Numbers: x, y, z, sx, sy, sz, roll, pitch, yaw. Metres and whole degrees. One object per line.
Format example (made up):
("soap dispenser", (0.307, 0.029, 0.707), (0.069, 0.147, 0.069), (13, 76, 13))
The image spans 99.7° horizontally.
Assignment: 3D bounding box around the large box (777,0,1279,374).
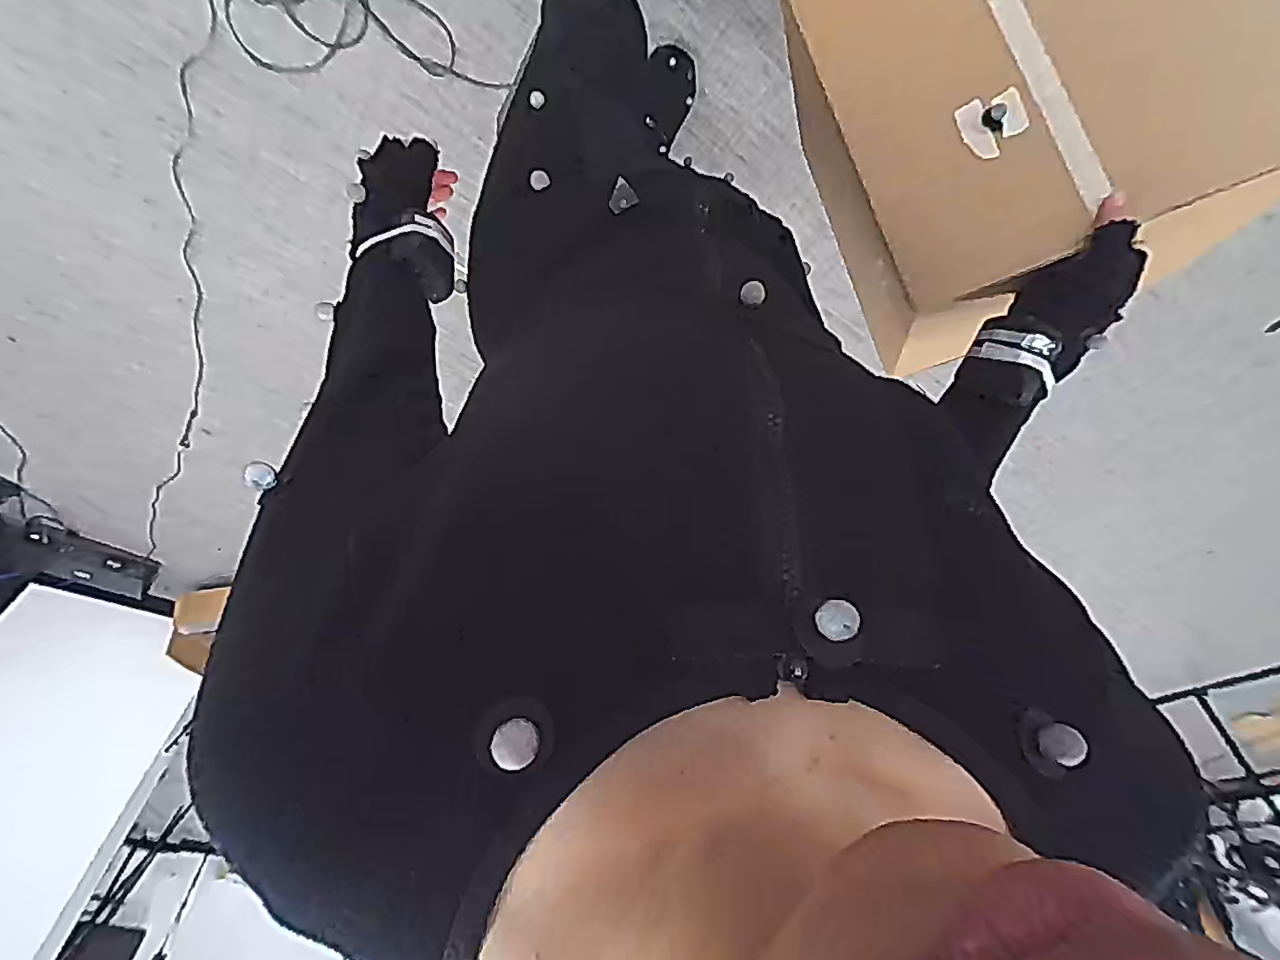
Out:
("large box", (0.385, -0.389, 0.624), (0.320, 0.408, 0.320), (-20, 172, 20))
